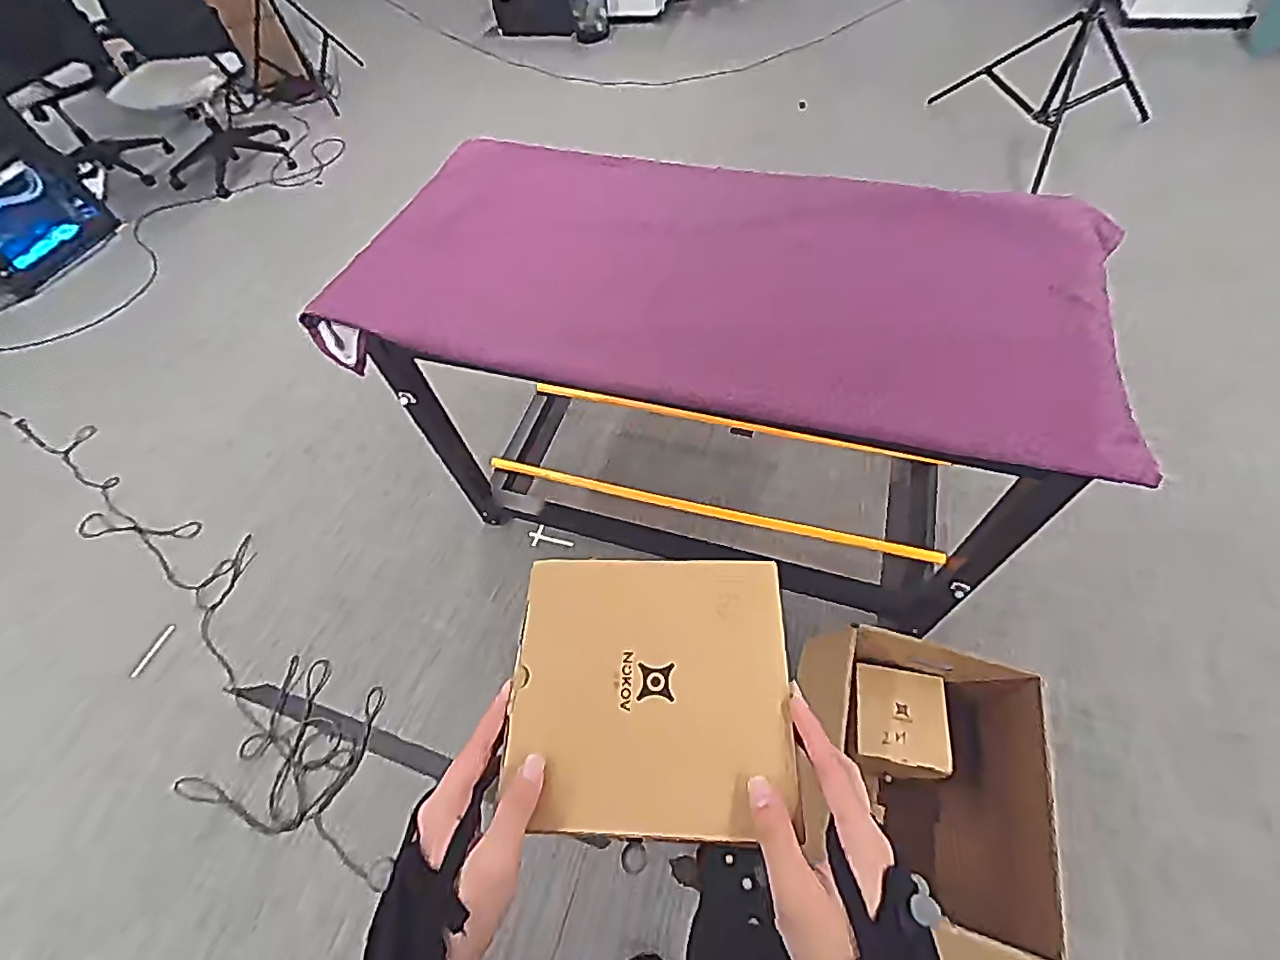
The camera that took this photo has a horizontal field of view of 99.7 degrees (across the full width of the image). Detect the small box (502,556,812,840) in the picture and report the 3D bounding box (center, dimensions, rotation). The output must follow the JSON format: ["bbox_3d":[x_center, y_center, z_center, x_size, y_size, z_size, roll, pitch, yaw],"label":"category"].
[{"bbox_3d":[0.017,0.167,0.408,0.179,0.176,0.168,-1,57,5],"label":"small box"}]
